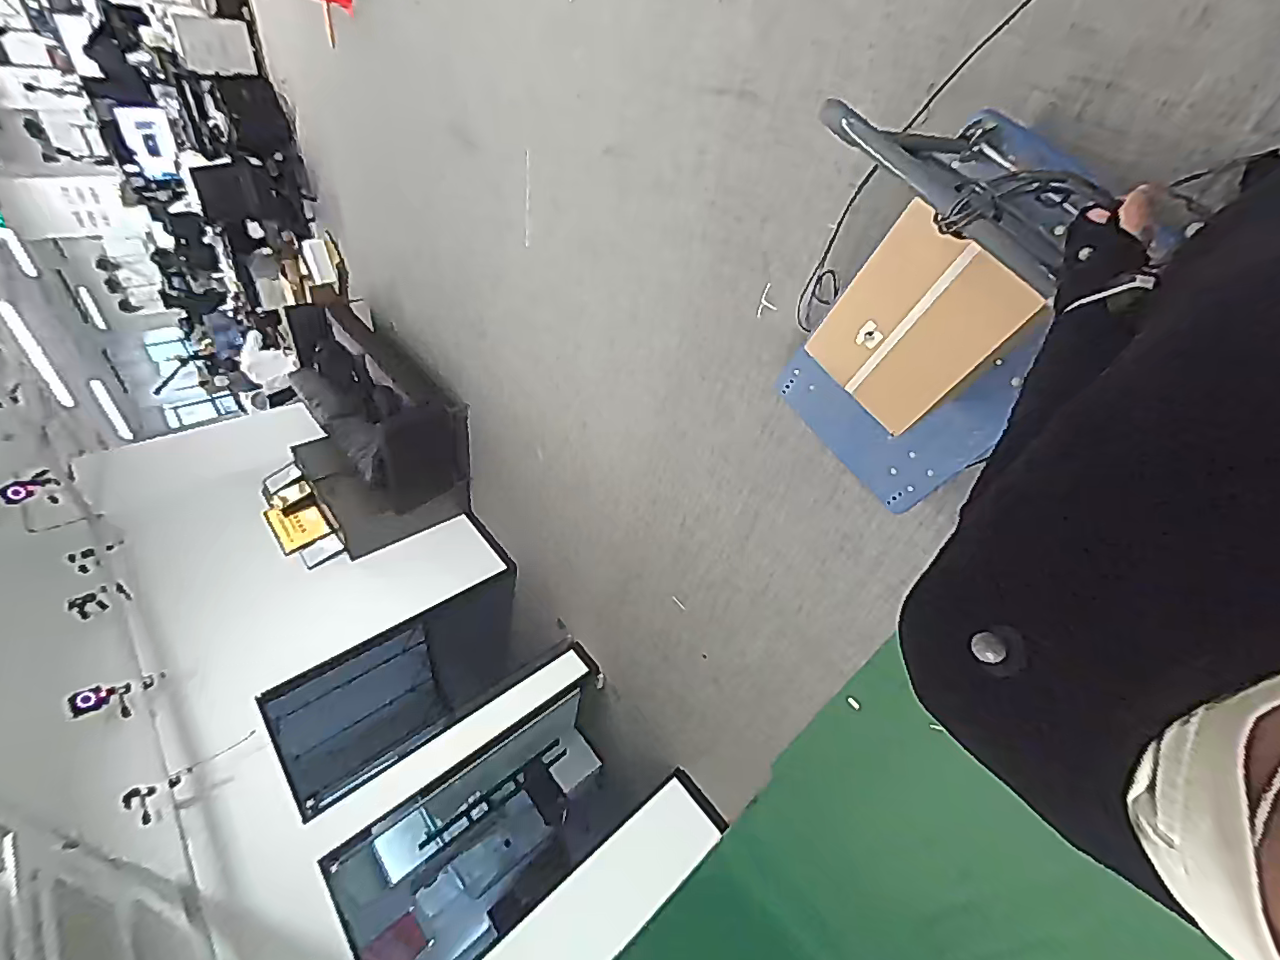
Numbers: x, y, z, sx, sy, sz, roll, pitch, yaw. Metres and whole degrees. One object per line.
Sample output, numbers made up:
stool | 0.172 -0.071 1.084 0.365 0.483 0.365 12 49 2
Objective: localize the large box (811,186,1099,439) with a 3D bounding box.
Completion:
large box | 0.675 -0.370 1.202 0.320 0.320 0.408 52 144 18
